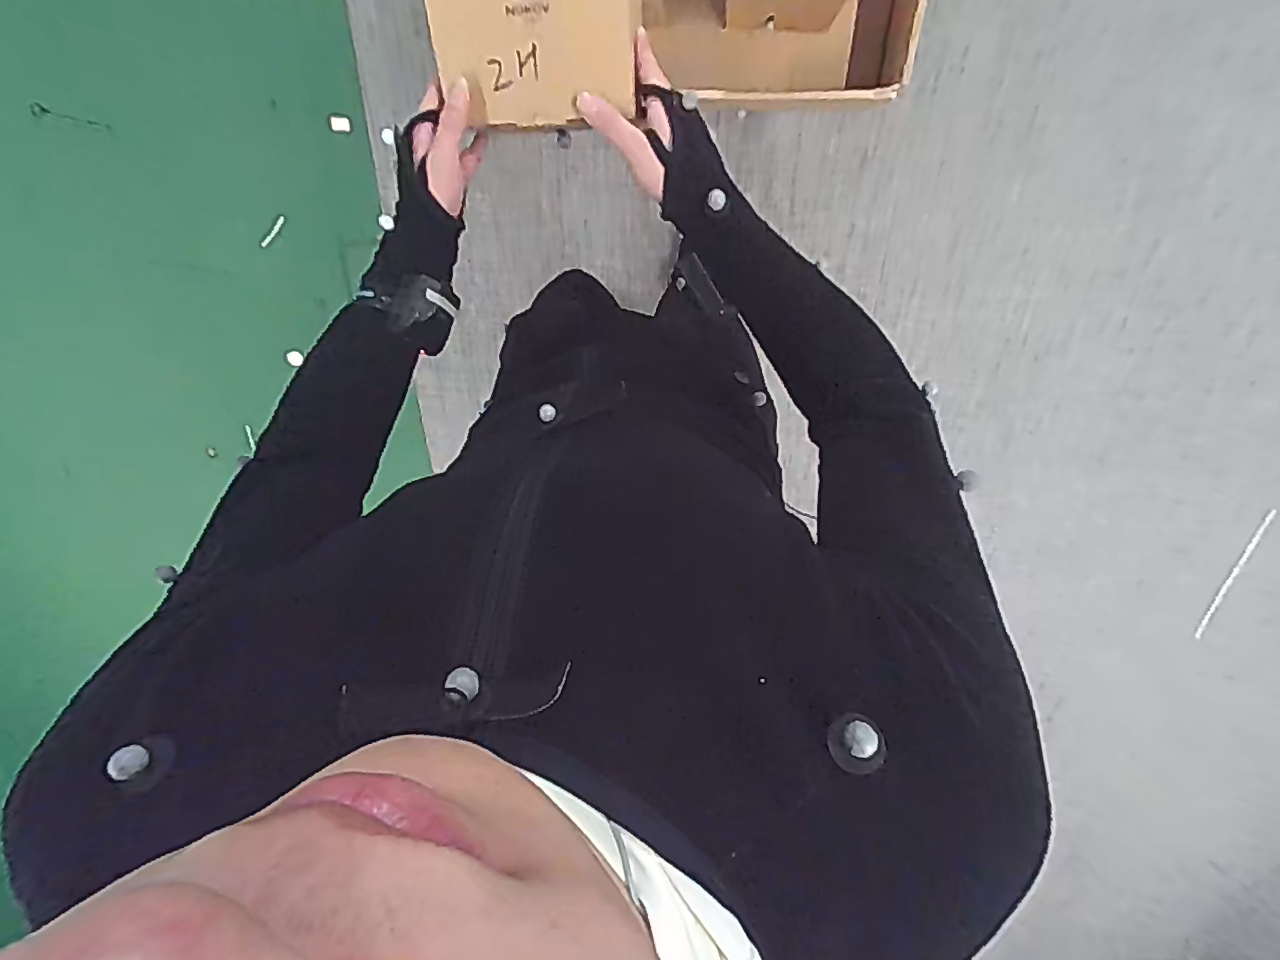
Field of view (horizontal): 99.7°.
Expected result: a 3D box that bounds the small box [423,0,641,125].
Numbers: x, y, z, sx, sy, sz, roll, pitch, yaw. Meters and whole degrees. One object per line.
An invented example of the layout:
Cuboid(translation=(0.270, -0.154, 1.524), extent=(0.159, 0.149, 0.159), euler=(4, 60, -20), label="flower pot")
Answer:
Cuboid(translation=(-0.088, -0.433, 0.489), extent=(0.168, 0.176, 0.179), euler=(0, 121, 5), label="small box")

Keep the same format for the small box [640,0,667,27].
Cuboid(translation=(-0.052, -0.776, 0.776), extent=(0.179, 0.176, 0.168), euler=(3, 118, 5), label="small box")
